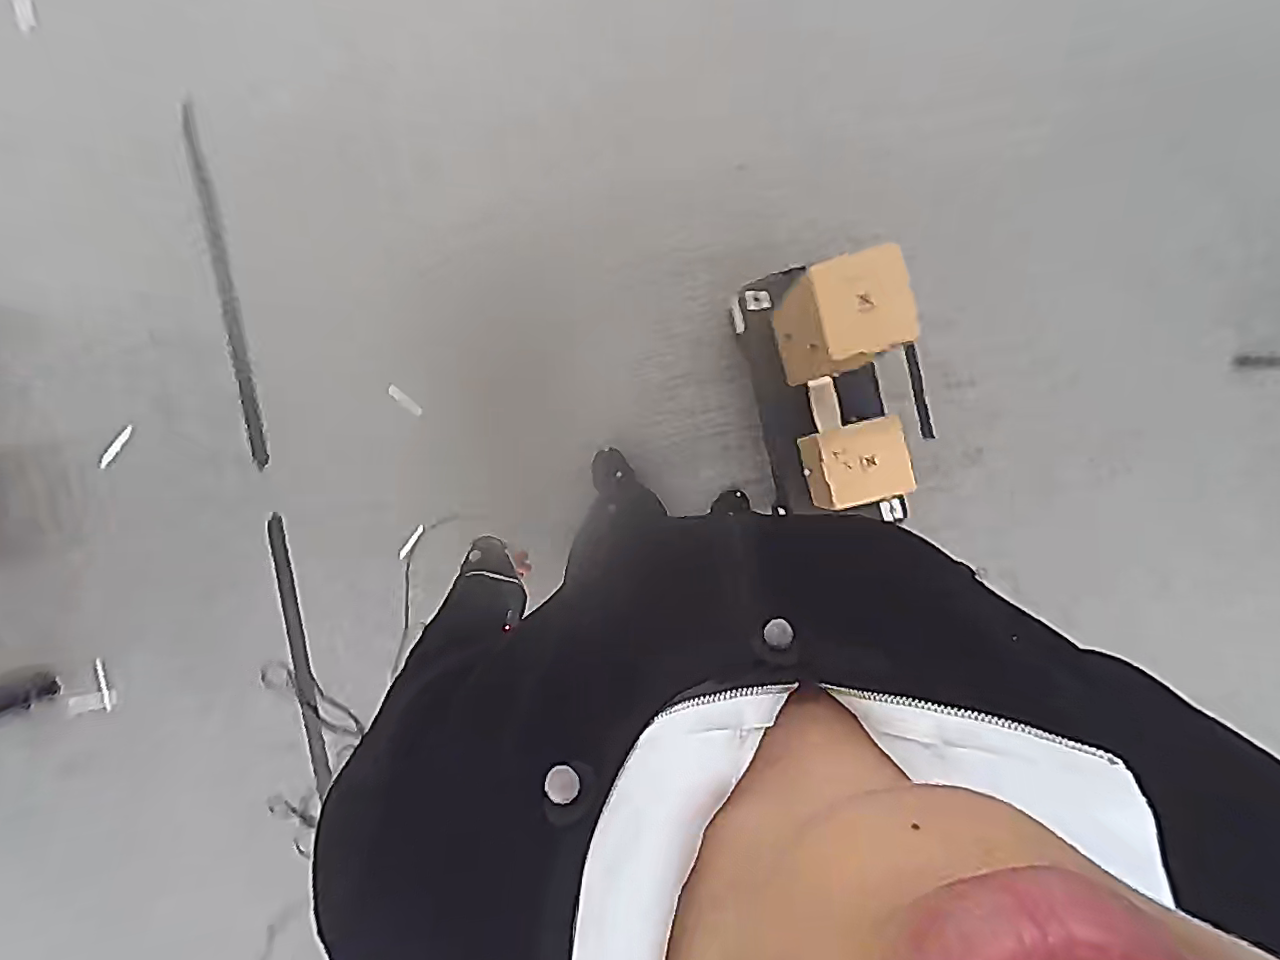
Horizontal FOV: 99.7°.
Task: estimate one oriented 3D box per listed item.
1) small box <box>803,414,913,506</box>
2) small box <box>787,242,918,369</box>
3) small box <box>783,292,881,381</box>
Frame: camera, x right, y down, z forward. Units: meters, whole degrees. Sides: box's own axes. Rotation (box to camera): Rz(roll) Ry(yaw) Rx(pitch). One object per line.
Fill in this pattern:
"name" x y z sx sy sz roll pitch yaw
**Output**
"small box" 0.473 -0.044 1.210 0.179 0.176 0.168 -13 90 3
"small box" 0.398 -0.322 1.040 0.168 0.176 0.179 -15 91 2
"small box" 0.406 -0.328 1.204 0.168 0.176 0.179 -15 91 3
